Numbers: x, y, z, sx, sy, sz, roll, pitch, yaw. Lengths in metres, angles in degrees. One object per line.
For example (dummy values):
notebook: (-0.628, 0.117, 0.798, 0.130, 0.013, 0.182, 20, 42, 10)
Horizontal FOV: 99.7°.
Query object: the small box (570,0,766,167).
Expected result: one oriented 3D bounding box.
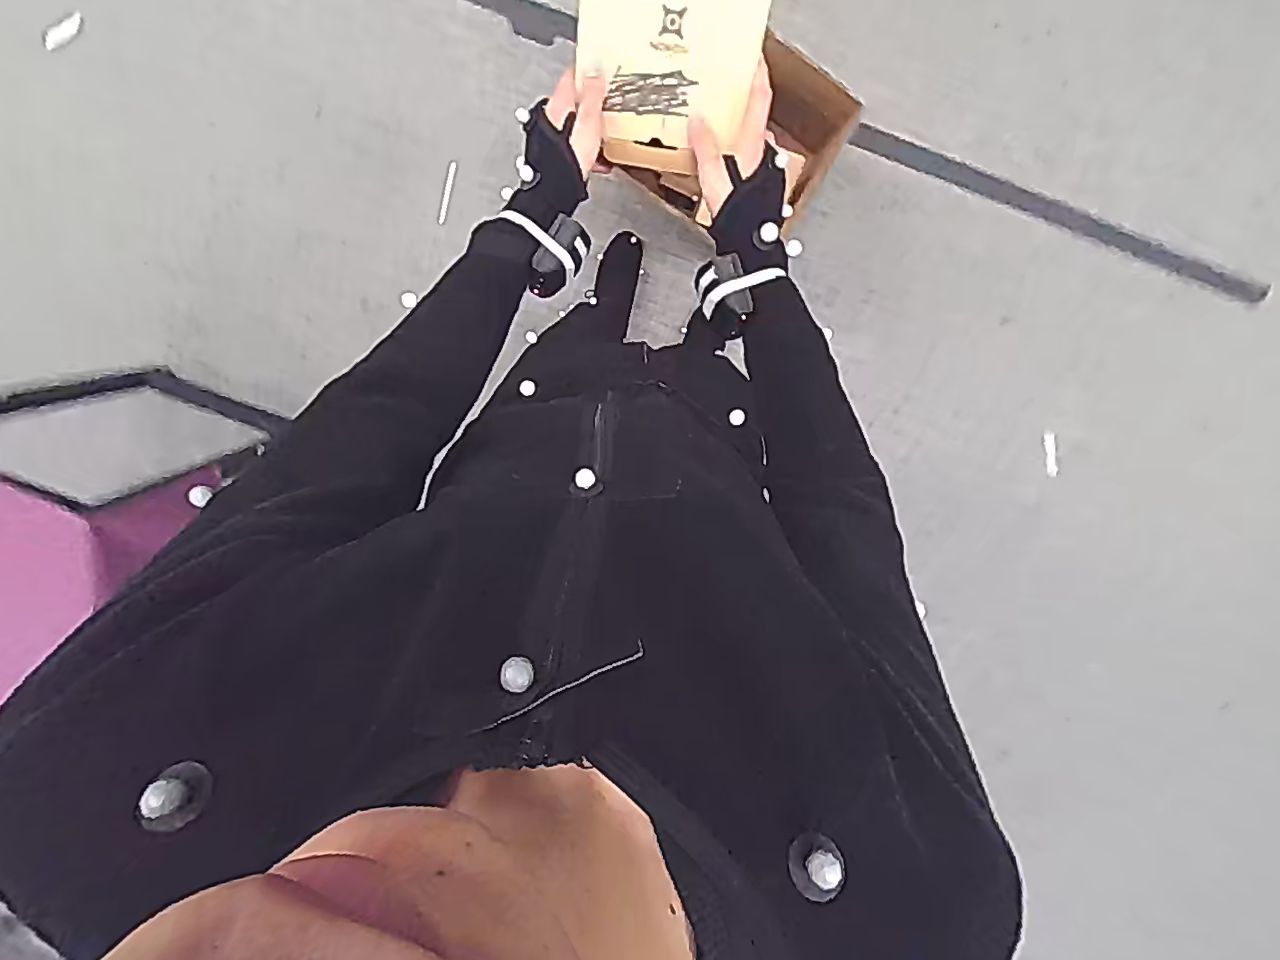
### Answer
small box: (0.032, -0.431, 0.552, 0.168, 0.176, 0.179, 9, 117, 1)
